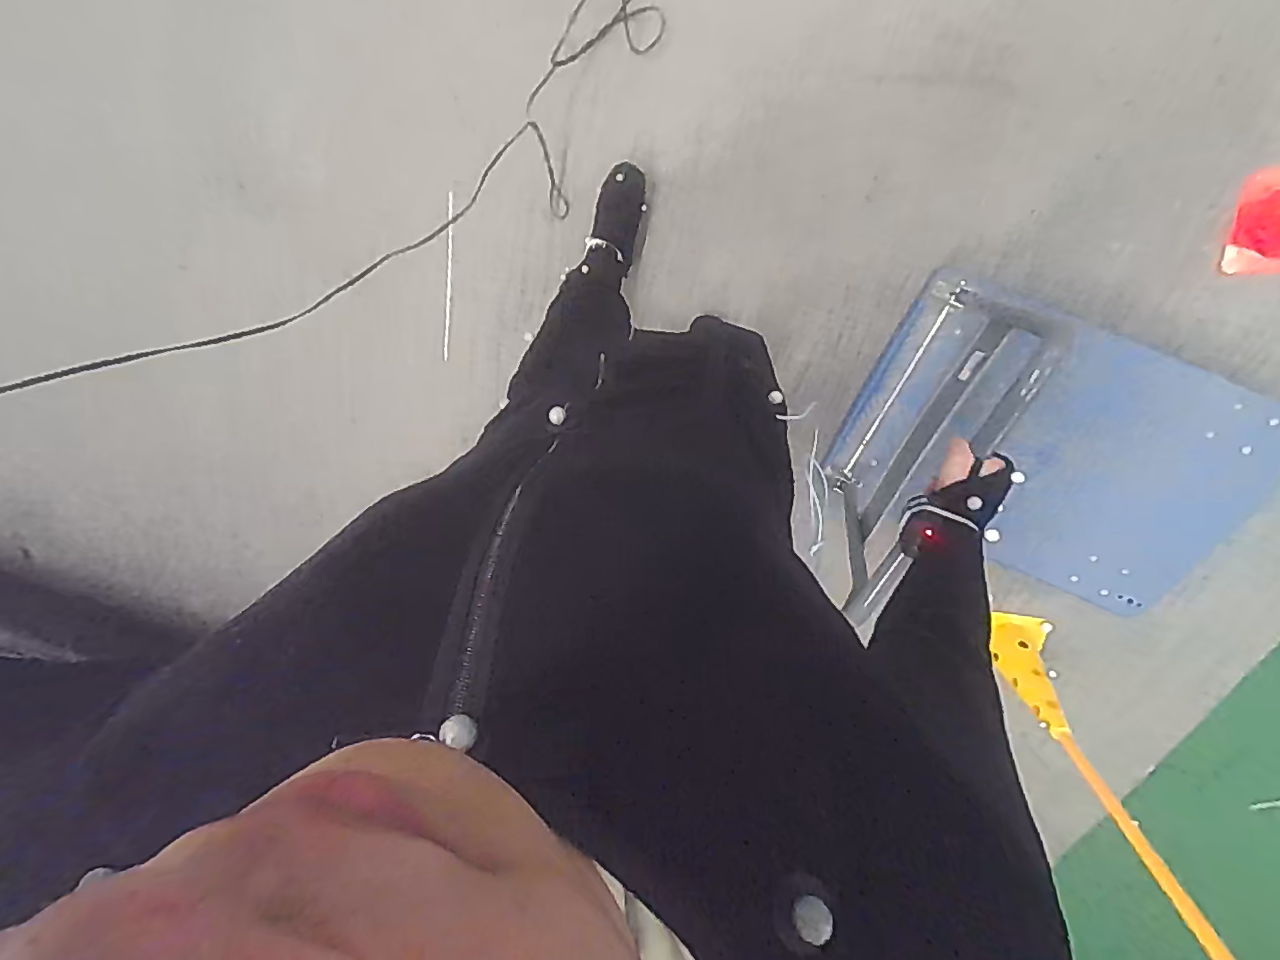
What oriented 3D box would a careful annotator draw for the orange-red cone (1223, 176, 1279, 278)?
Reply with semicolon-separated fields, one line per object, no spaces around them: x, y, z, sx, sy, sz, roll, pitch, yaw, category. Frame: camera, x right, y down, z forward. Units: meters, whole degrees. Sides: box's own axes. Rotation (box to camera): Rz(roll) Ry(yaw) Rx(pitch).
1.324;-0.462;0.975;0.198;0.360;0.199;3;113;12;orange-red cone
